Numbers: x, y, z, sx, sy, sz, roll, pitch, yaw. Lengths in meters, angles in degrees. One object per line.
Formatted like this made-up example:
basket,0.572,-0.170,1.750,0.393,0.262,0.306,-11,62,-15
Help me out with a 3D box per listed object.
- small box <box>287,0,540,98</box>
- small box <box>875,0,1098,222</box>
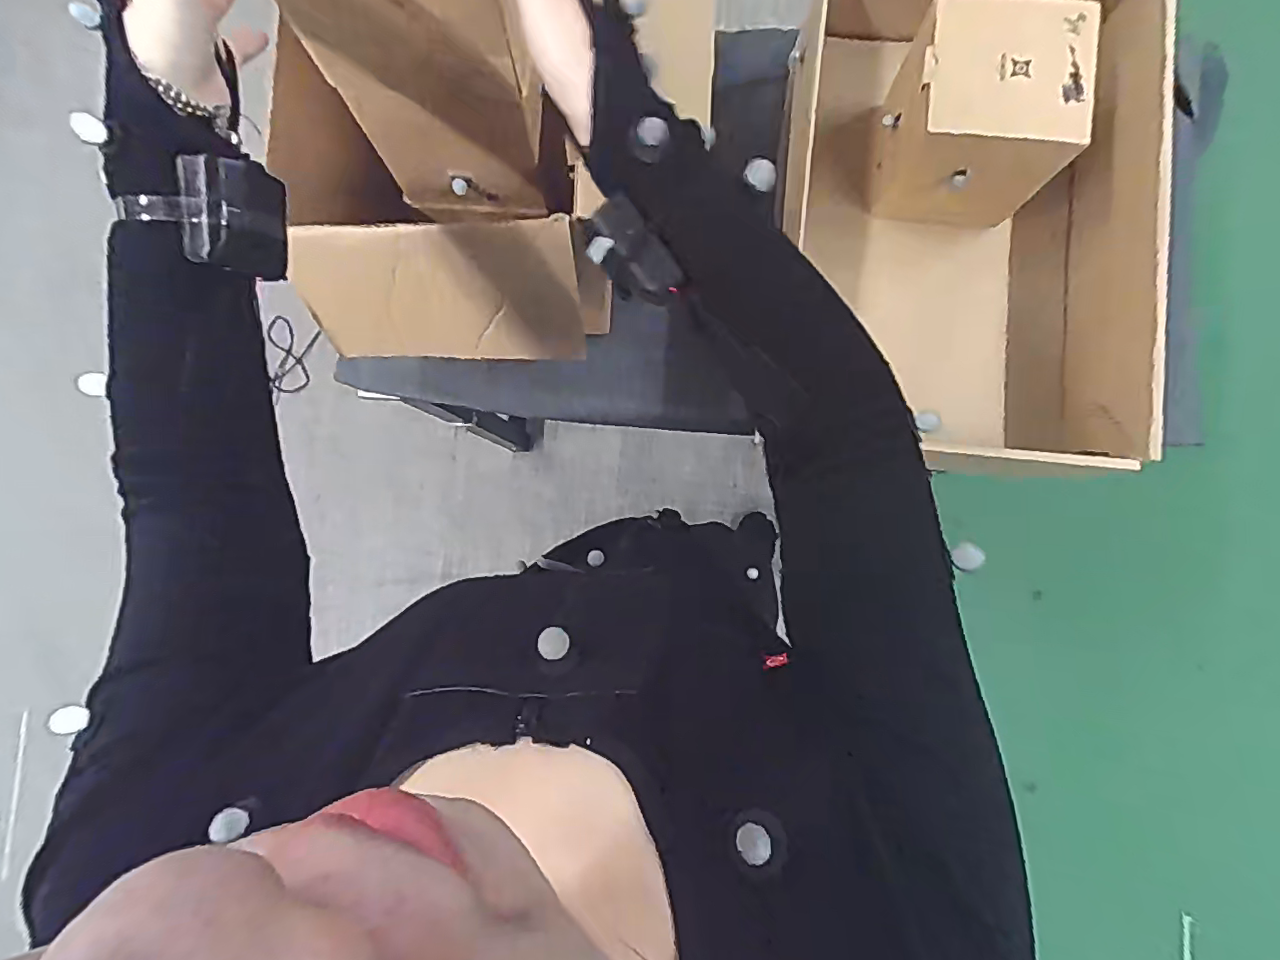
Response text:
small box,-0.177,-0.428,0.404,0.179,0.176,0.168,4,84,-1
small box,0.409,-0.443,0.669,0.179,0.176,0.168,7,87,5
